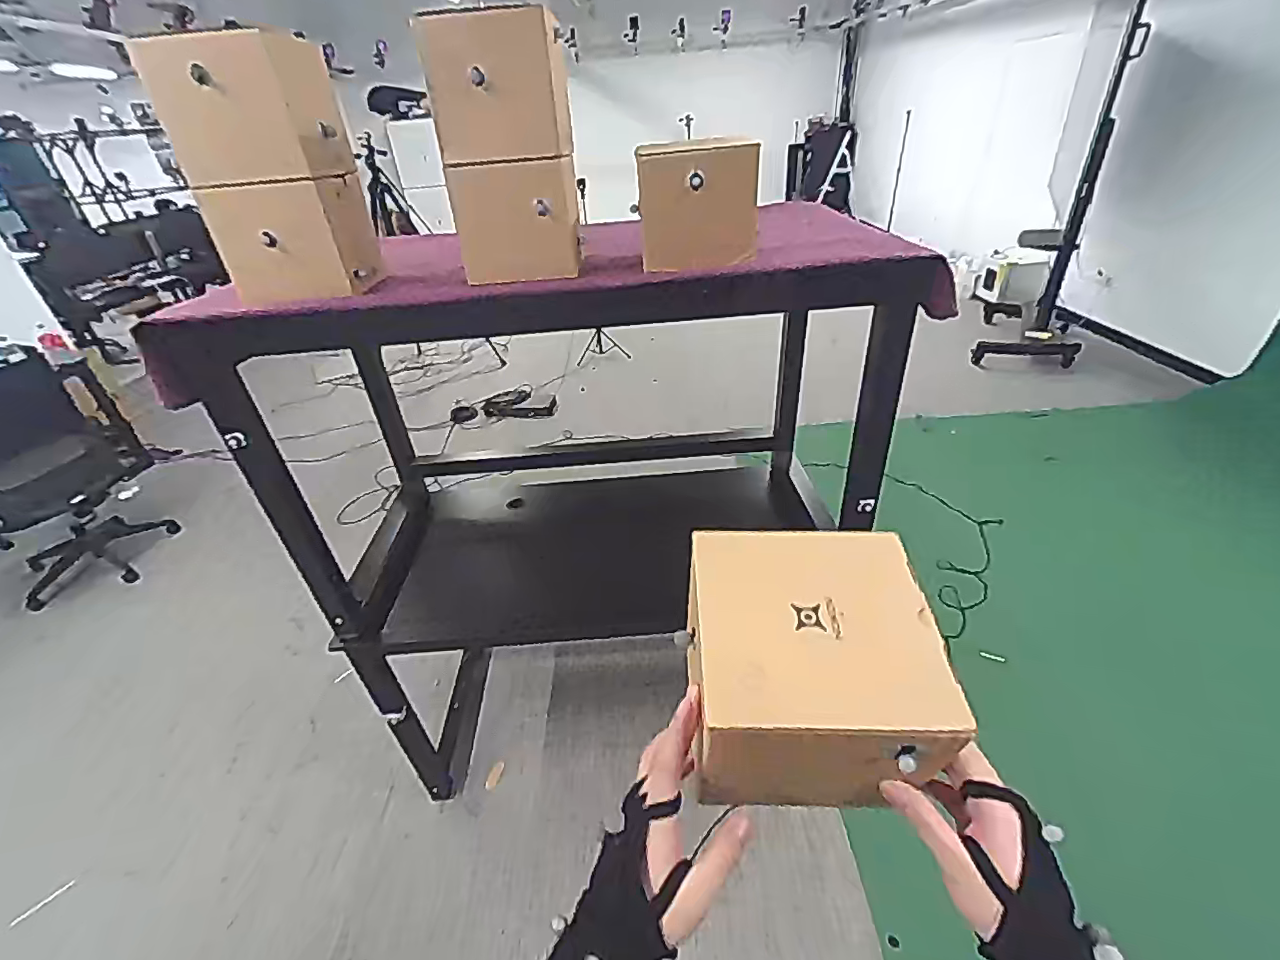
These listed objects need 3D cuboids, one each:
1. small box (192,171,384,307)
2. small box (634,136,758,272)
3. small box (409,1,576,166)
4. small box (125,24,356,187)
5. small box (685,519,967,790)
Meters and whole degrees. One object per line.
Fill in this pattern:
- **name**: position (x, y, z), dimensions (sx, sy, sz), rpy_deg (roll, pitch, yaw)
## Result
- **small box**: position (-0.540, -0.387, 0.865), dimensions (0.179, 0.176, 0.168), rpy_deg (-6, 33, -1)
- **small box**: position (0.086, -0.439, 0.861), dimensions (0.179, 0.176, 0.168), rpy_deg (-3, 36, 2)
- **small box**: position (-0.200, -0.564, 0.789), dimensions (0.179, 0.176, 0.168), rpy_deg (-4, 34, 3)
- **small box**: position (-0.550, -0.525, 0.776), dimensions (0.179, 0.176, 0.168), rpy_deg (-5, 34, 0)
- **small box**: position (0.128, 0.150, 0.459), dimensions (0.179, 0.176, 0.168), rpy_deg (0, 46, 1)
